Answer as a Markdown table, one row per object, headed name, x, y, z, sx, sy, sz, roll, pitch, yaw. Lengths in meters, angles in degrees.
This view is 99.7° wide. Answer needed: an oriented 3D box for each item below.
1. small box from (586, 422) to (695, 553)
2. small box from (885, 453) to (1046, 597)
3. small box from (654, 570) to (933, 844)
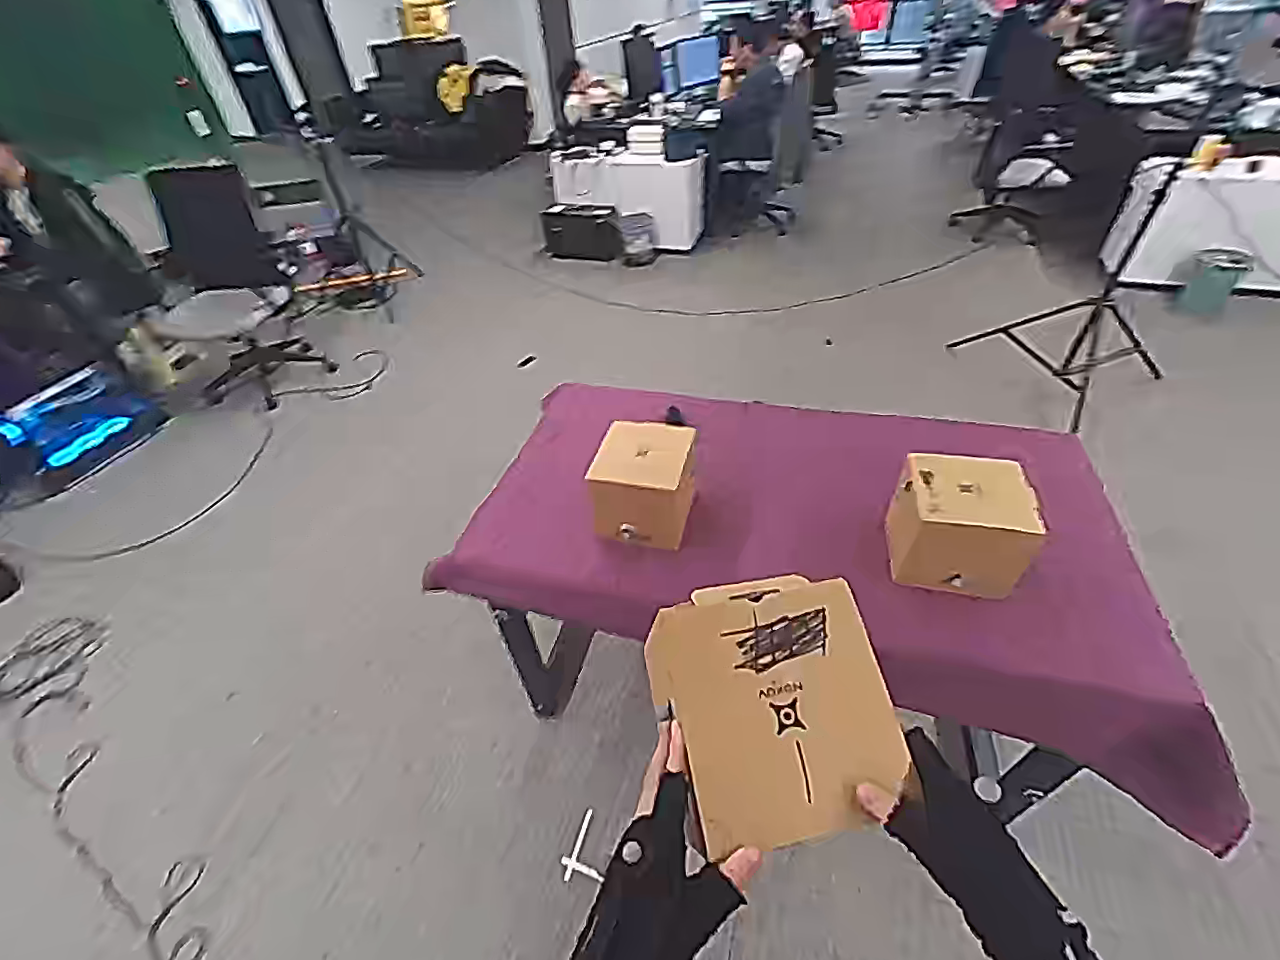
| name | x | y | z | sx | sy | sz | roll | pitch | yaw |
| --- | --- | --- | --- | --- | --- | --- | --- | --- | --- |
| small box | 0.009 | 0.012 | 1.038 | 0.168 | 0.176 | 0.179 | 7 | 45 | 14 |
| small box | 0.535 | 0.078 | 0.918 | 0.179 | 0.176 | 0.168 | 7 | 44 | 12 |
| small box | 0.110 | 0.198 | 0.482 | 0.168 | 0.176 | 0.179 | -8 | 63 | -7 |
